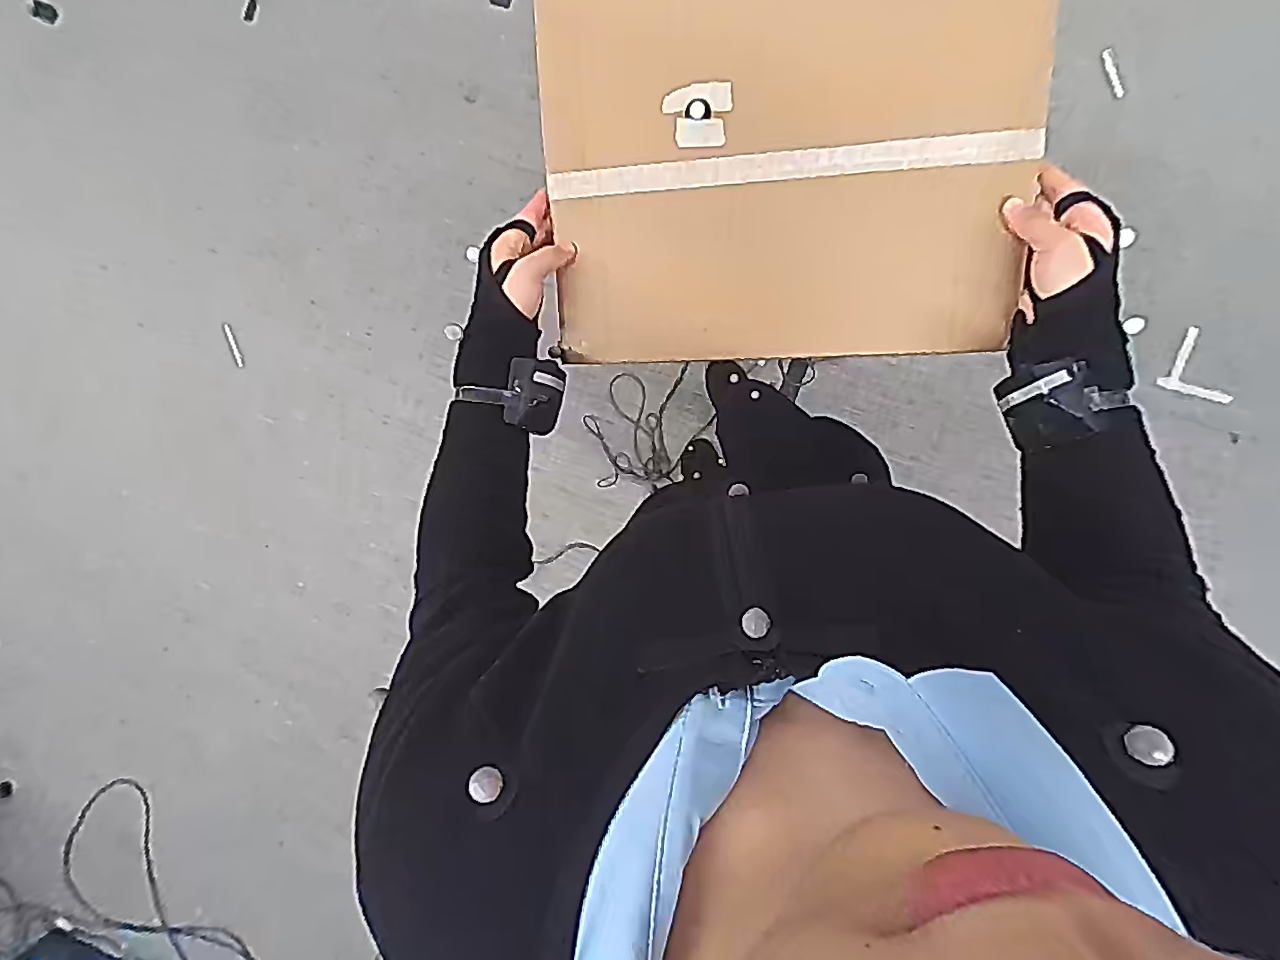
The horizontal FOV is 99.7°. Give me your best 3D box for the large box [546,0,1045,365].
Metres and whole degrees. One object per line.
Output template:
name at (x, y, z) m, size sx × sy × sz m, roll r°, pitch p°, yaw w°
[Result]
large box at (0.145, -0.306, 0.614) m, size 0.408 × 0.320 × 0.320 m, roll 0°, pitch 104°, yaw 9°
